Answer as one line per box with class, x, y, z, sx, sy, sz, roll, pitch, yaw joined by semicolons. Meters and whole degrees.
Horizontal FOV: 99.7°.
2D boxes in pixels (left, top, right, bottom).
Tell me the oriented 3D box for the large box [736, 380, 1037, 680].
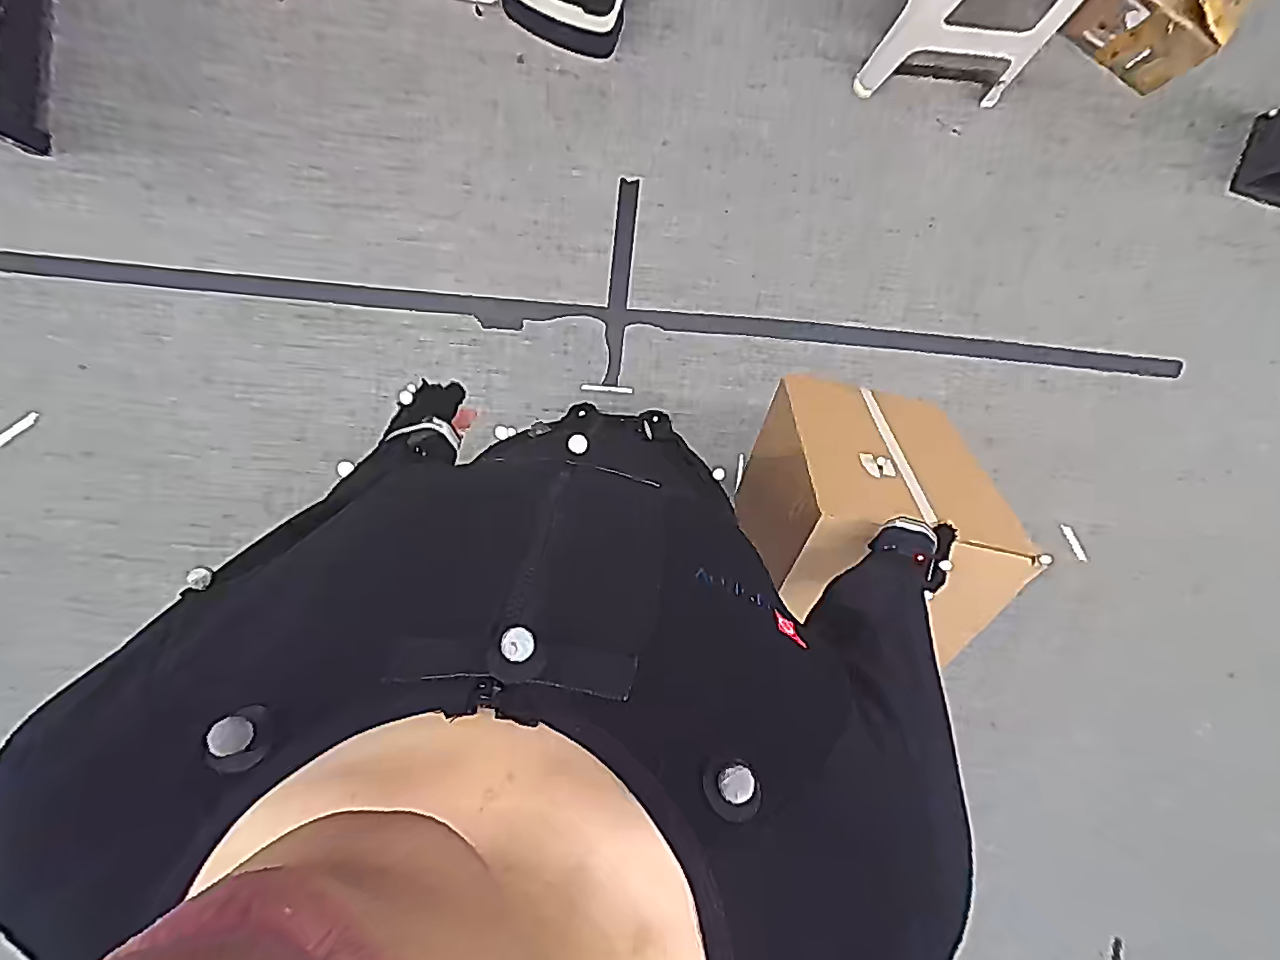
large box;0.375;0.077;0.969;0.320;0.408;0.320;11;129;-3
